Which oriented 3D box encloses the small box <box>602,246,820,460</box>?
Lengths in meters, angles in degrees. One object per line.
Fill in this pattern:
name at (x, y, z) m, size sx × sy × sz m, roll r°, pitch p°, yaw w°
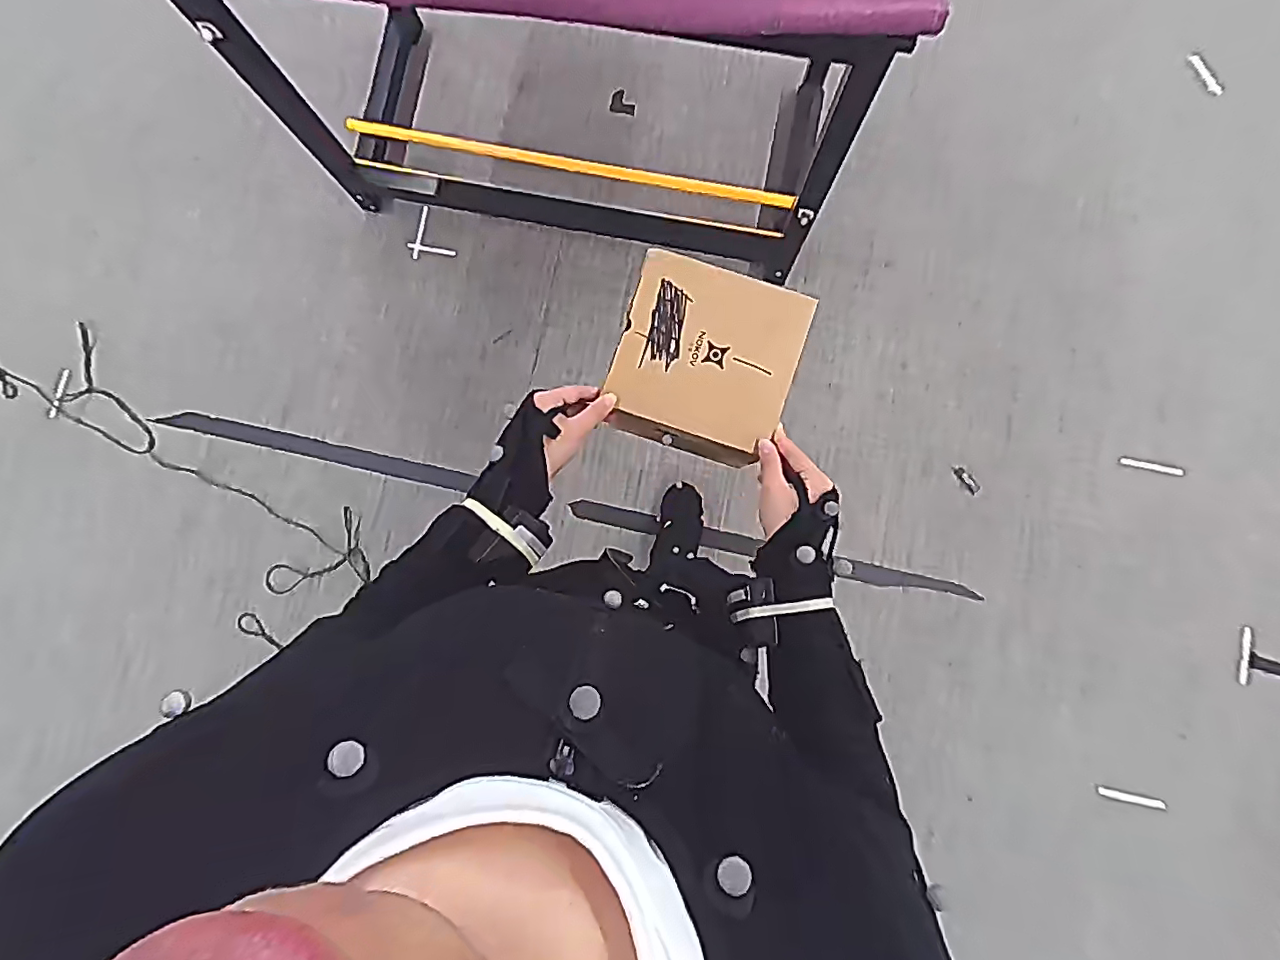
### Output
small box at (0.070, -0.126, 0.608) m, size 0.179 × 0.176 × 0.168 m, roll 19°, pitch 89°, yaw 1°
